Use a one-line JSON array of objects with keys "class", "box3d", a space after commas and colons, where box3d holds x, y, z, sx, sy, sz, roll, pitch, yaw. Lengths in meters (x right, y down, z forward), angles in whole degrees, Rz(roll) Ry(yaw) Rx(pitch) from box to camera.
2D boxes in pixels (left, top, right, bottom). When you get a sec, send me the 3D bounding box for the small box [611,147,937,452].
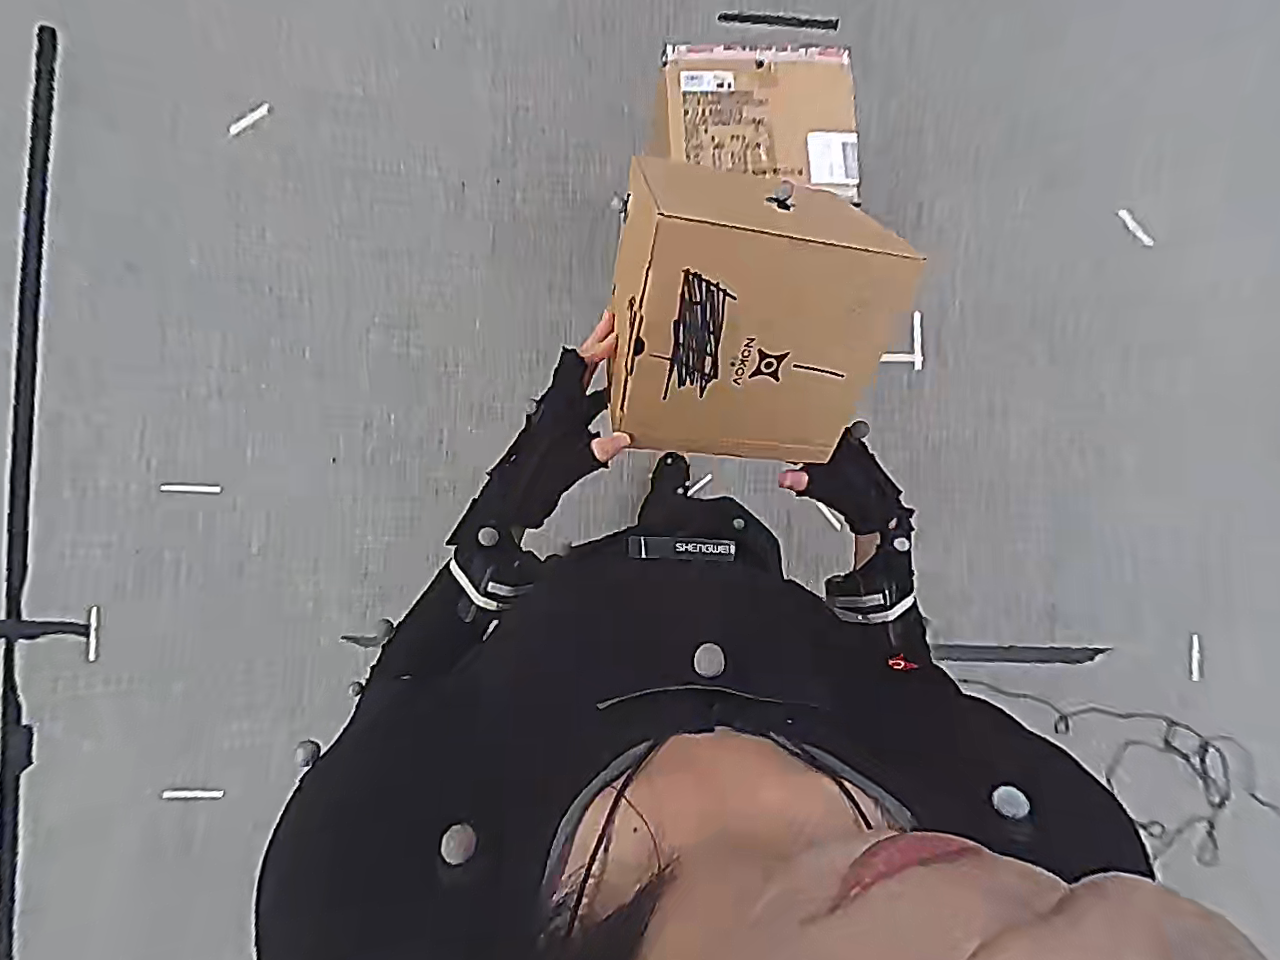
[{"class": "small box", "box3d": [0.075, -0.143, 0.422, 0.179, 0.176, 0.168, 4, 130, -11]}]
